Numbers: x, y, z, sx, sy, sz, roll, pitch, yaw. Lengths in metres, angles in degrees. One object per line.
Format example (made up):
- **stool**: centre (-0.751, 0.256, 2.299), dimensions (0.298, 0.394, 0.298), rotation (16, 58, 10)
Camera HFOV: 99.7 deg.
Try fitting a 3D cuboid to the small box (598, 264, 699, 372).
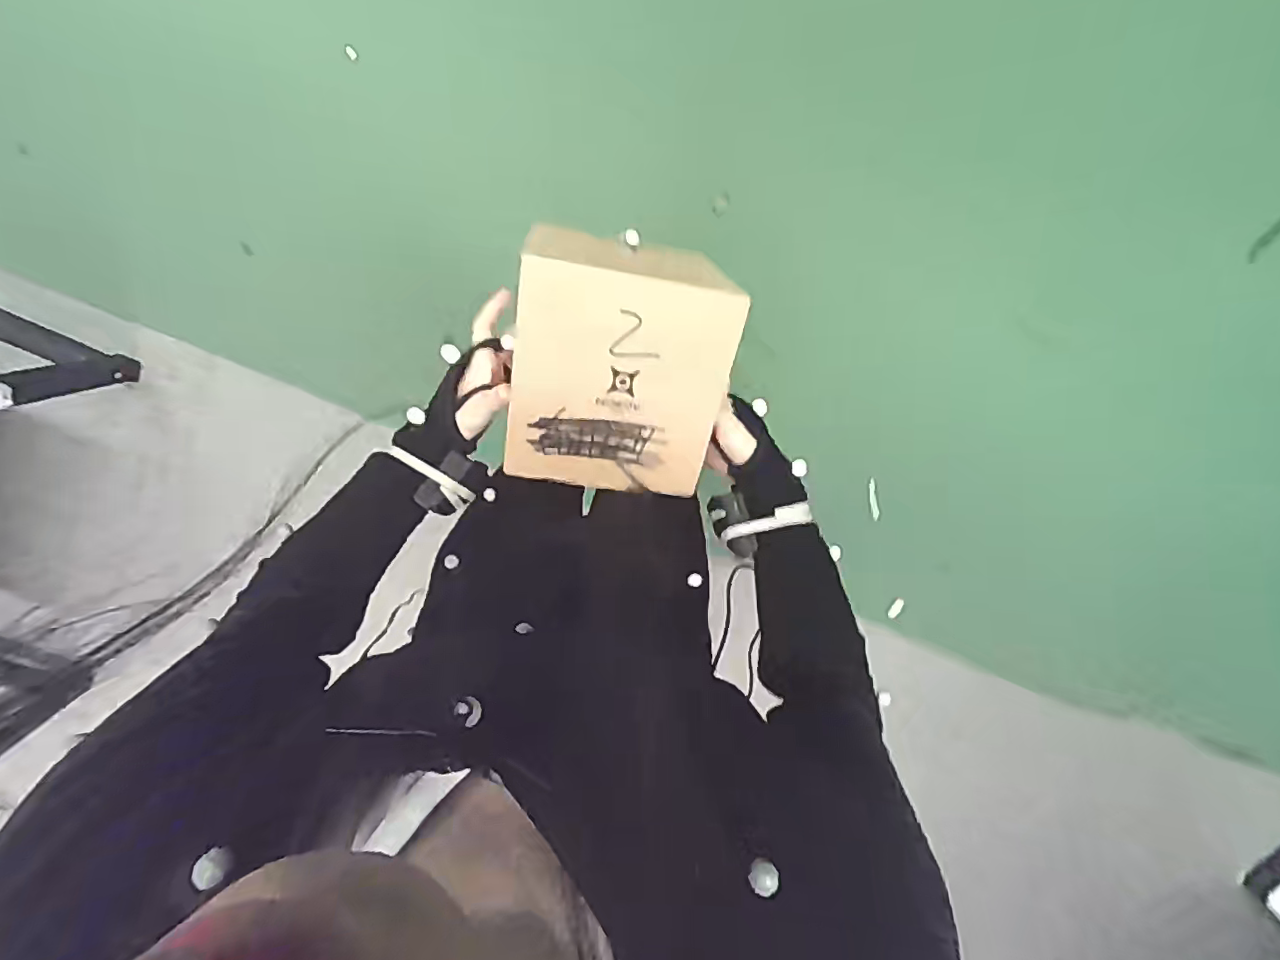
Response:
- **small box**: centre (0.016, -0.376, 1.243), dimensions (0.168, 0.176, 0.179), rotation (26, 110, -10)
